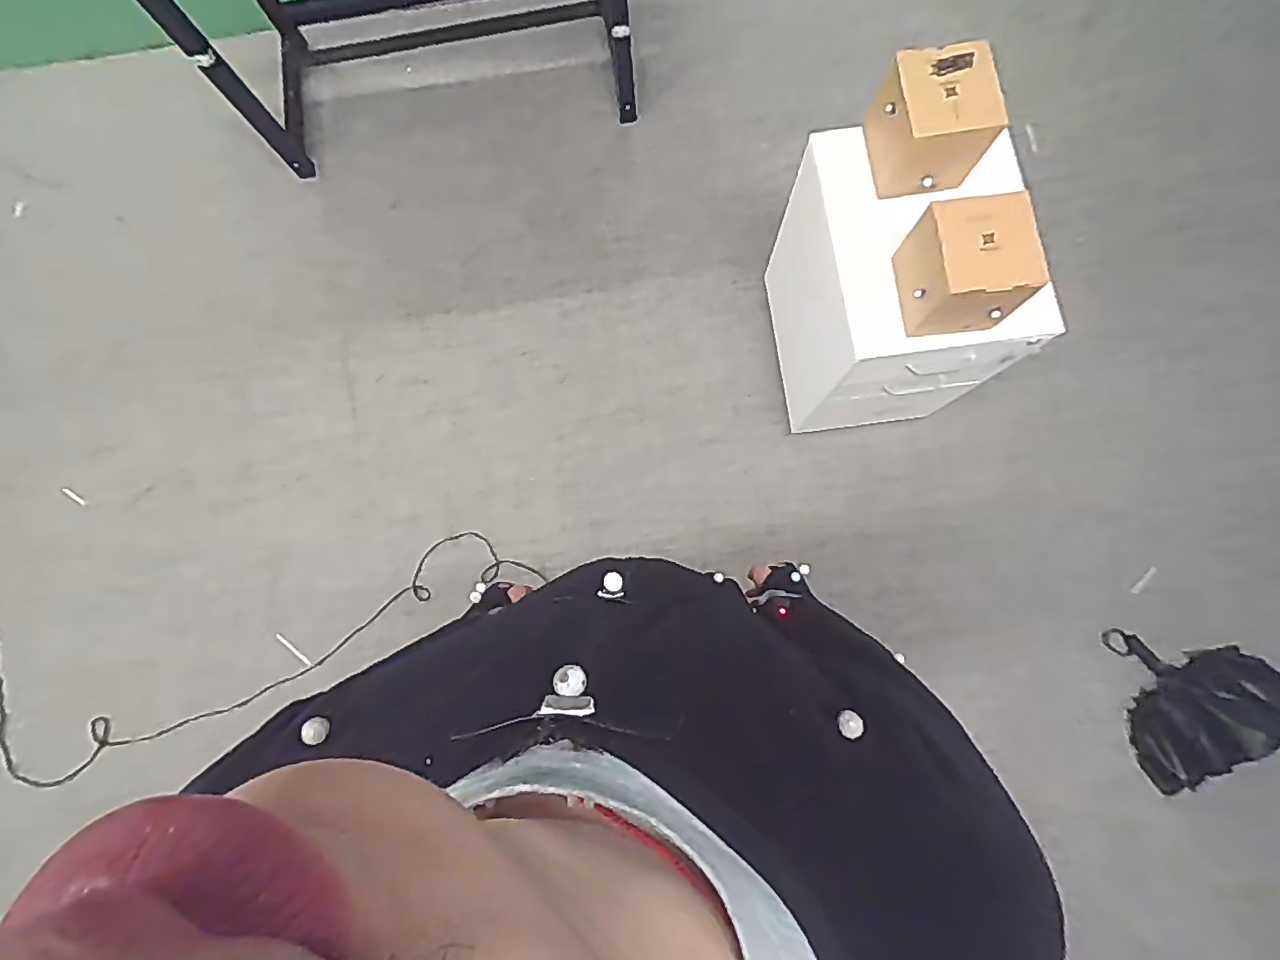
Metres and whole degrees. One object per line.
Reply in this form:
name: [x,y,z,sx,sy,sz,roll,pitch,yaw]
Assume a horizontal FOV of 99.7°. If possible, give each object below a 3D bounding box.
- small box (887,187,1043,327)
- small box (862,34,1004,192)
small box: [0.574,-0.390,0.978,0.168,0.176,0.179,-6,79,0]
small box: [0.540,-0.684,1.023,0.168,0.176,0.179,-8,83,1]
